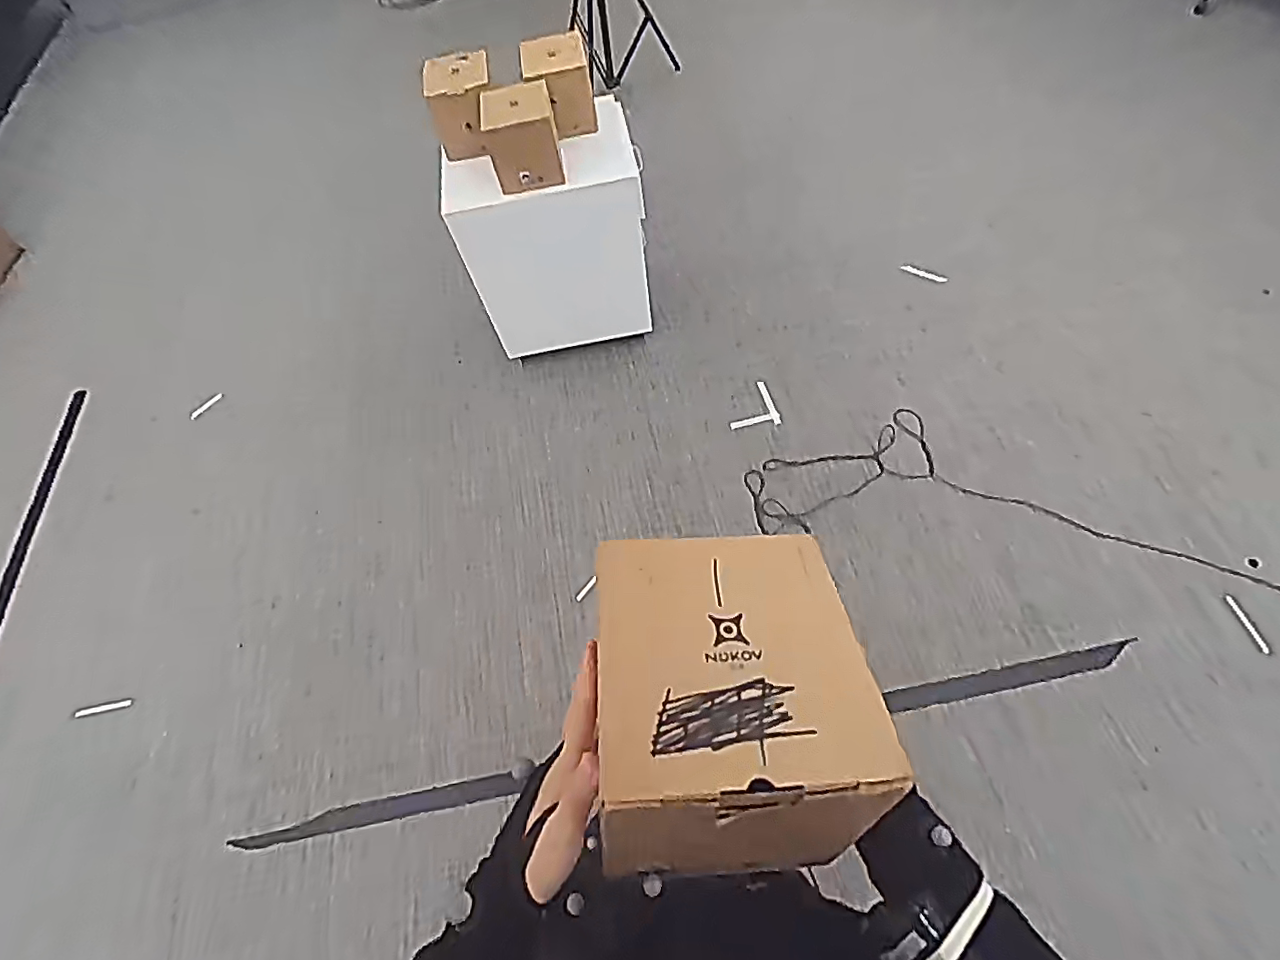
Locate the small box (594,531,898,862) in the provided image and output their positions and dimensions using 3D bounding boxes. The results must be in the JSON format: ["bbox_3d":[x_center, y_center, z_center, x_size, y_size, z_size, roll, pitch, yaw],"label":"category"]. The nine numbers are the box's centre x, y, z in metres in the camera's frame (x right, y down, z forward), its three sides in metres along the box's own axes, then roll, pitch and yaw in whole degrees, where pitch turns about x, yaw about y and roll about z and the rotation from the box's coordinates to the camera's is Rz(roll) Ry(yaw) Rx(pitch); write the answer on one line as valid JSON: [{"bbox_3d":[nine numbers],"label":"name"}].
[{"bbox_3d":[0.052,0.159,0.397,0.168,0.176,0.179,-2,42,-4],"label":"small box"}]

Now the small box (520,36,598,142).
[{"bbox_3d":[-0.215,-1.039,1.452,0.168,0.176,0.179,-11,62,1],"label":"small box"}]

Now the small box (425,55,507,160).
[{"bbox_3d":[-0.461,-0.987,1.450,0.168,0.176,0.179,-11,63,-1],"label":"small box"}]
